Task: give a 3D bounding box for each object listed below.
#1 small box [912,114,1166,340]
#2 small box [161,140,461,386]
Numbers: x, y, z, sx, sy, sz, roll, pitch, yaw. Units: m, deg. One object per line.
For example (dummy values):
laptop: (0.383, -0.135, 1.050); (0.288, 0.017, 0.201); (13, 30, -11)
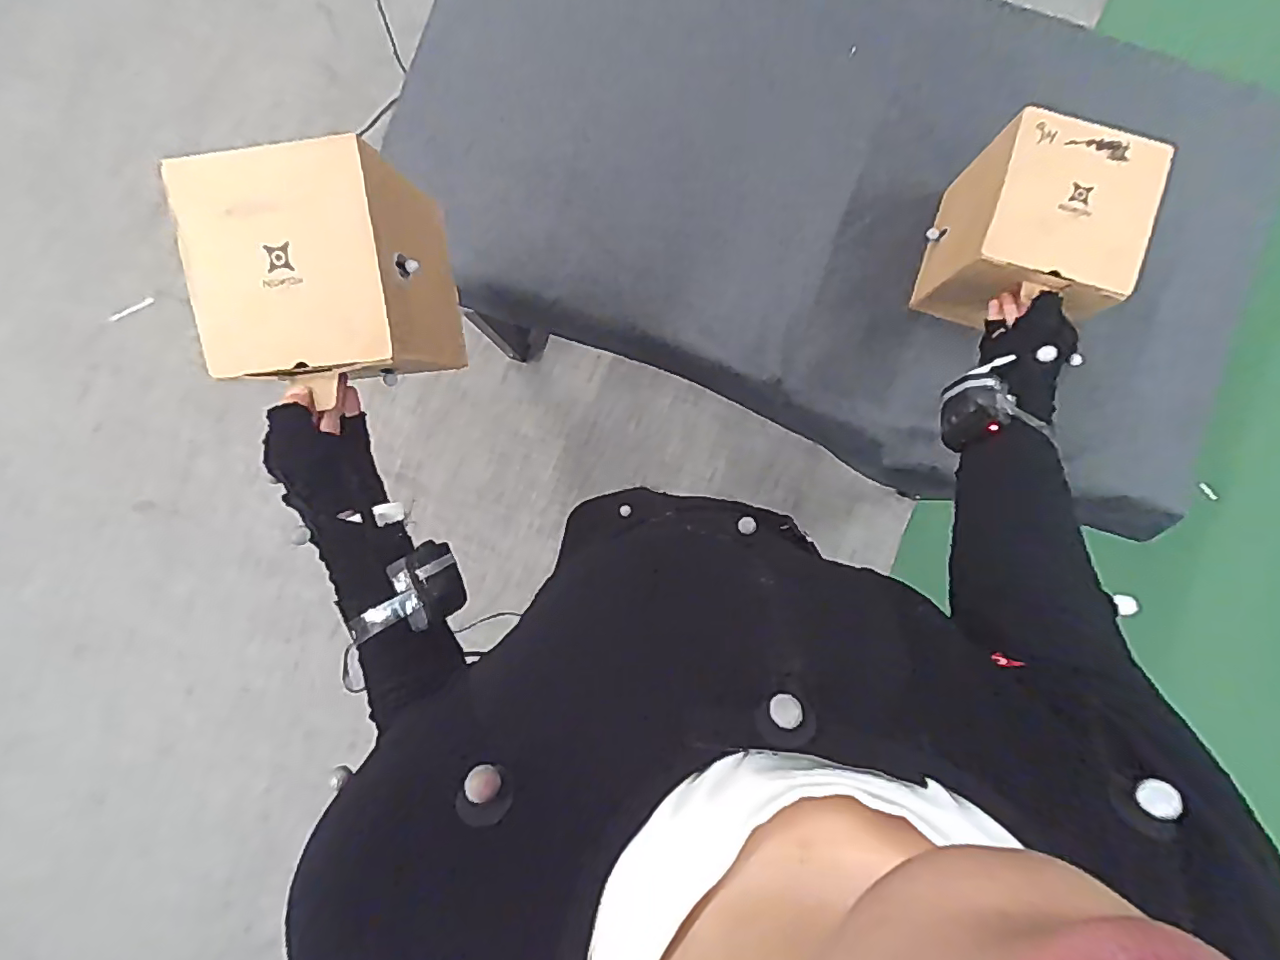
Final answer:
small box: (0.468, -0.292, 0.666); (0.168, 0.176, 0.179); (18, 90, 1)
small box: (-0.285, -0.185, 0.513); (0.168, 0.176, 0.179); (-5, 99, 3)
